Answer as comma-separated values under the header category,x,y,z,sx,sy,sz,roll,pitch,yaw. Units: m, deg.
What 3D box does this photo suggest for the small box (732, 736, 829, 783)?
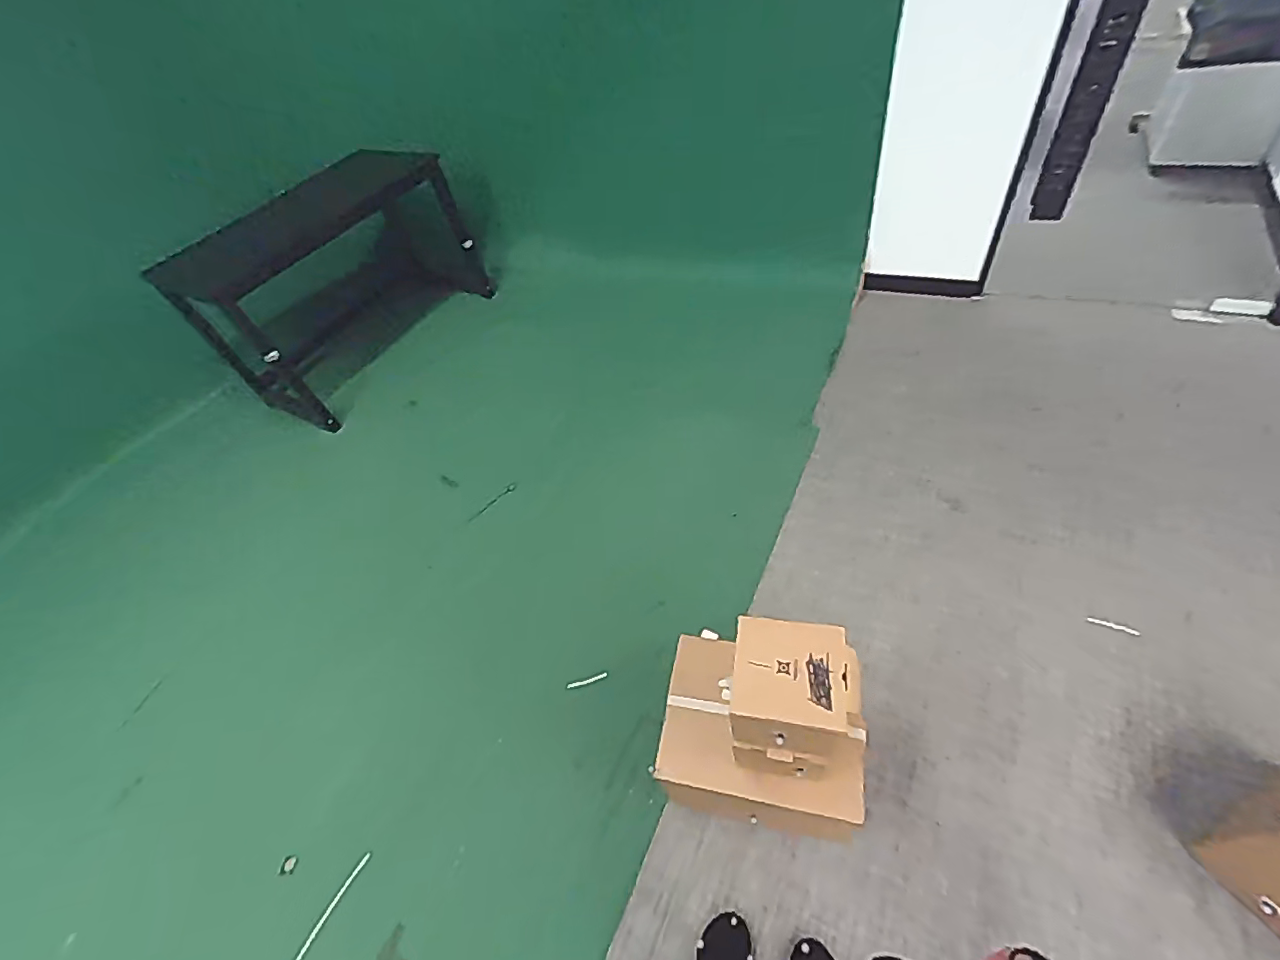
category,x,y,z,sx,sy,sz,roll,pitch,yaw
small box,0.274,0.456,1.033,0.168,0.176,0.179,4,52,17

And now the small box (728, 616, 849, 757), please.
category,x,y,z,sx,sy,sz,roll,pitch,yaw
small box,0.248,0.350,0.910,0.179,0.176,0.168,3,51,16

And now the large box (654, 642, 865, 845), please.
category,x,y,z,sx,sy,sz,roll,pitch,yaw
large box,0.280,0.600,1.236,0.408,0.320,0.320,3,50,17
